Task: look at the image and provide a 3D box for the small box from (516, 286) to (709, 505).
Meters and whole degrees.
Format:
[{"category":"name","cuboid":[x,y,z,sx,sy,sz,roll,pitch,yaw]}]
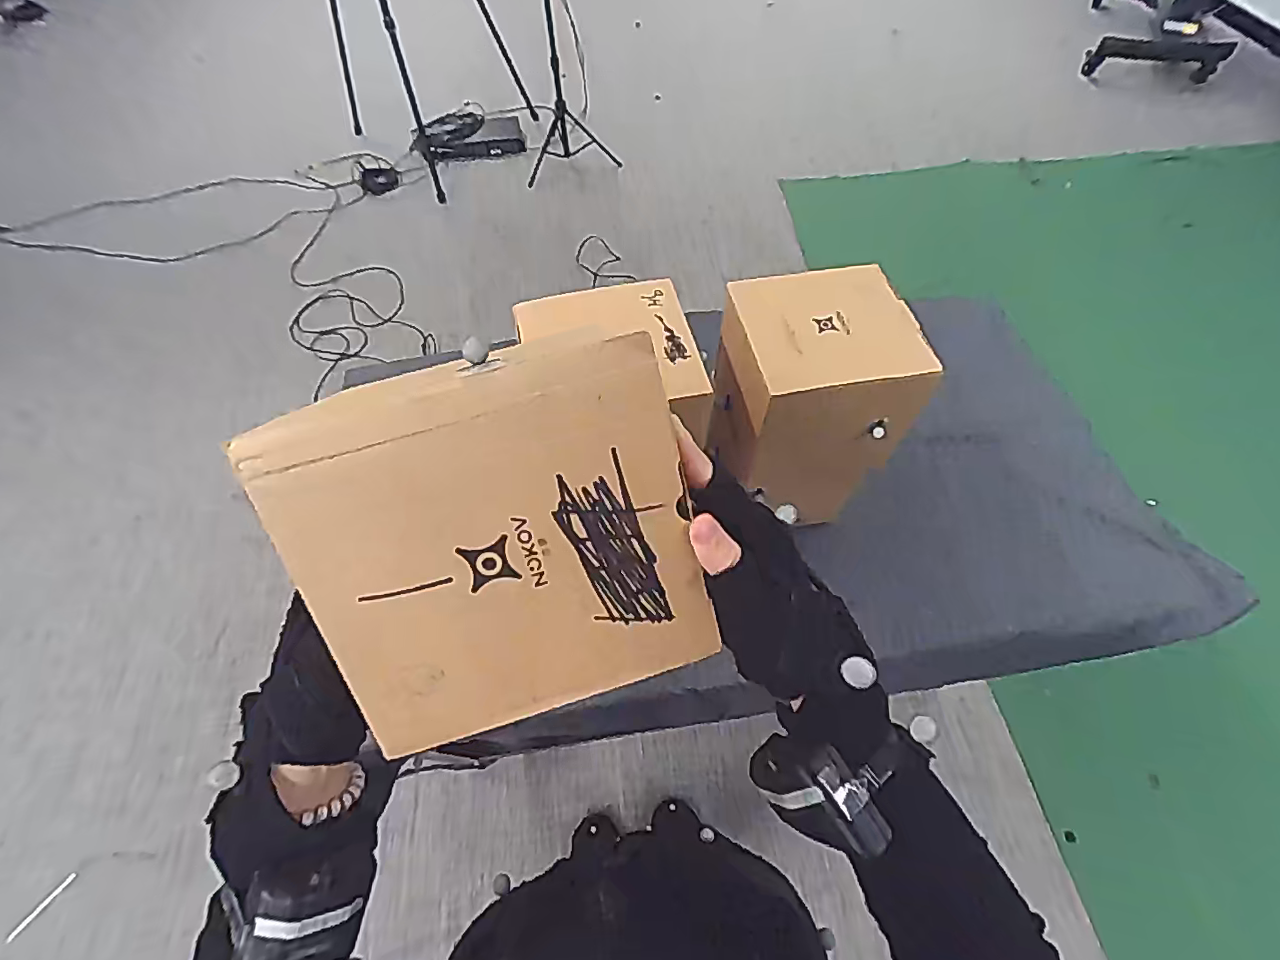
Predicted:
[{"category":"small box","cuboid":[-0.030,-0.088,0.617,0.179,0.176,0.168,-12,60,-5]}]
